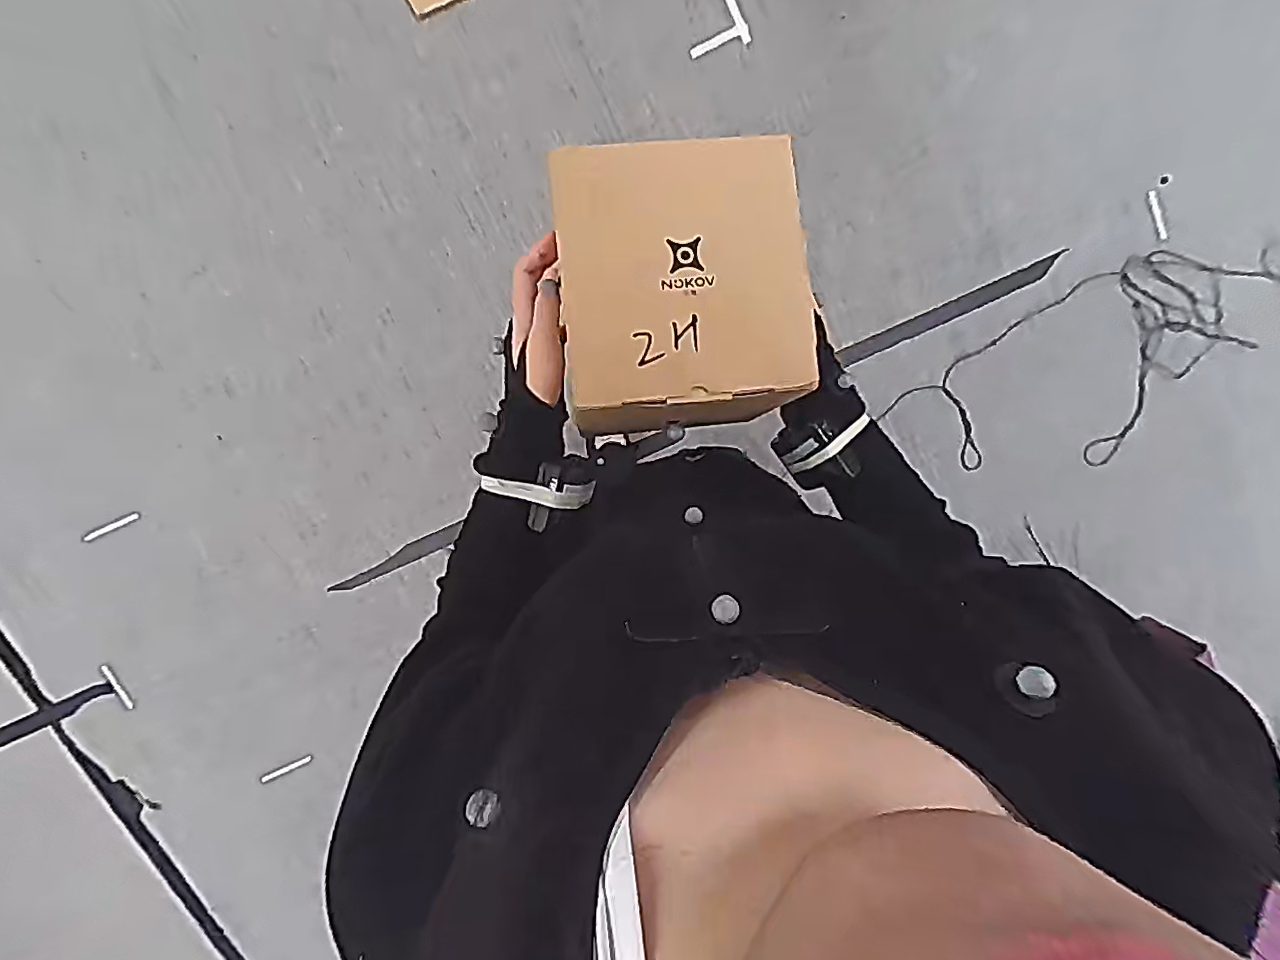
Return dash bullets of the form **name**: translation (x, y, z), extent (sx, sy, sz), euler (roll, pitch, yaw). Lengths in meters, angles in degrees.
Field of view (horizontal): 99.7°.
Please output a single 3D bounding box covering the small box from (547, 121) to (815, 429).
- **small box**: translation (0.021, -0.144, 0.432), extent (0.168, 0.176, 0.179), euler (-6, 89, -4)
